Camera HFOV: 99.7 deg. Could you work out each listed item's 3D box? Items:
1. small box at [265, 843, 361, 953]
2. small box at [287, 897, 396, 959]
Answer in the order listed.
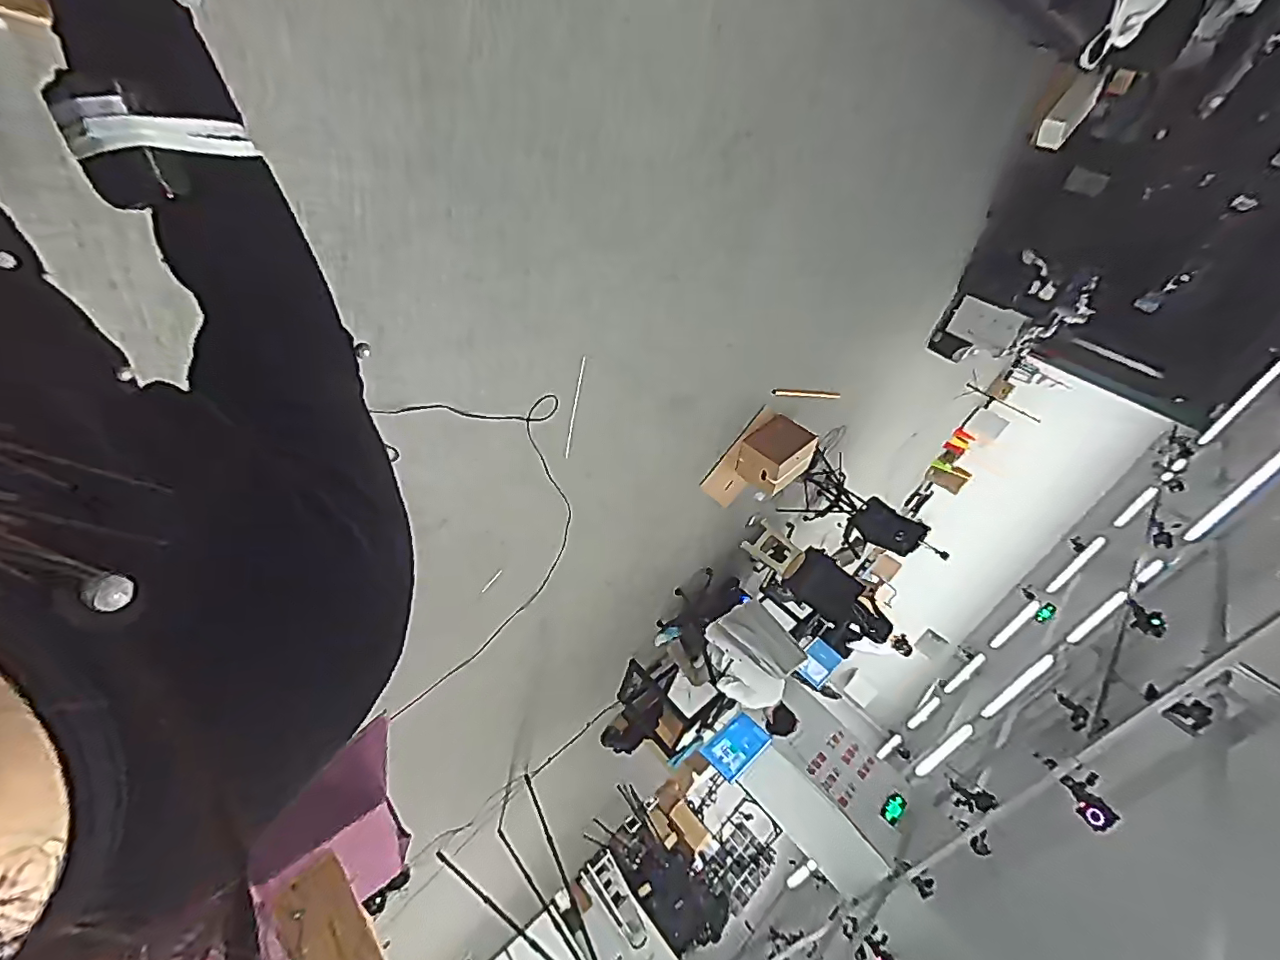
[{"bbox_3d":[-0.840,1.090,1.404,0.168,0.176,0.179,-25,144,-37],"label":"small box"},{"bbox_3d":[-0.728,1.182,1.331,0.179,0.176,0.168,-25,144,-35],"label":"small box"}]
